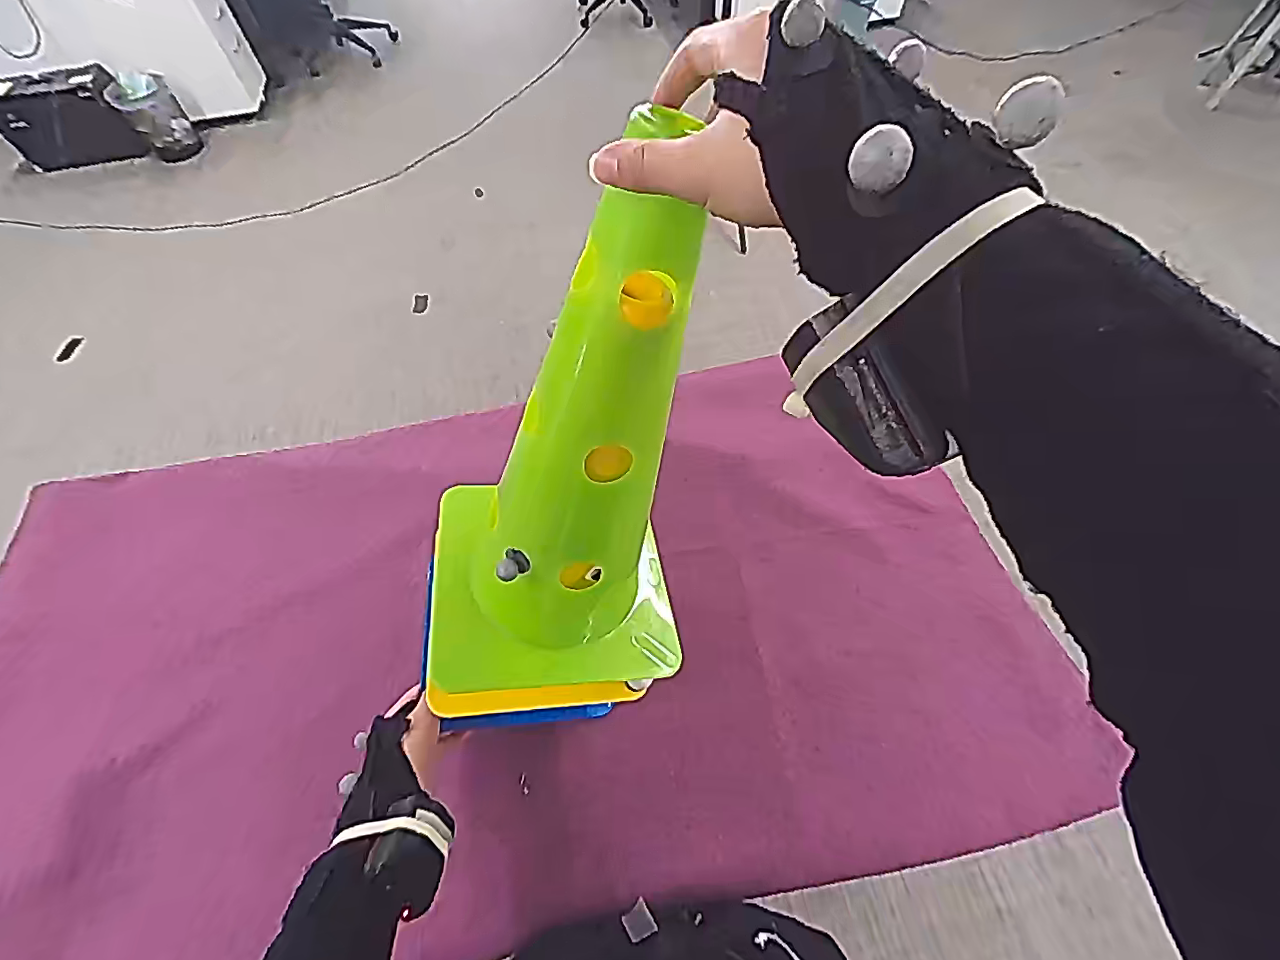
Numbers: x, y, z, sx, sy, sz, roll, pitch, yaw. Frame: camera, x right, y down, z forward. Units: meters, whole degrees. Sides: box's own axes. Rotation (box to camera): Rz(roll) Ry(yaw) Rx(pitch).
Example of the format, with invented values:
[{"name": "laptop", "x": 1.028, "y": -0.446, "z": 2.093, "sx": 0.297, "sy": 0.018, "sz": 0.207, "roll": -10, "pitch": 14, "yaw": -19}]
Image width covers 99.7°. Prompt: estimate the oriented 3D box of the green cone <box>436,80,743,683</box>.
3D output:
[{"name": "green cone", "x": -0.026, "y": -0.040, "z": 0.349, "sx": 0.200, "sy": 0.368, "sz": 0.202, "roll": 2, "pitch": 49, "yaw": -18}]
